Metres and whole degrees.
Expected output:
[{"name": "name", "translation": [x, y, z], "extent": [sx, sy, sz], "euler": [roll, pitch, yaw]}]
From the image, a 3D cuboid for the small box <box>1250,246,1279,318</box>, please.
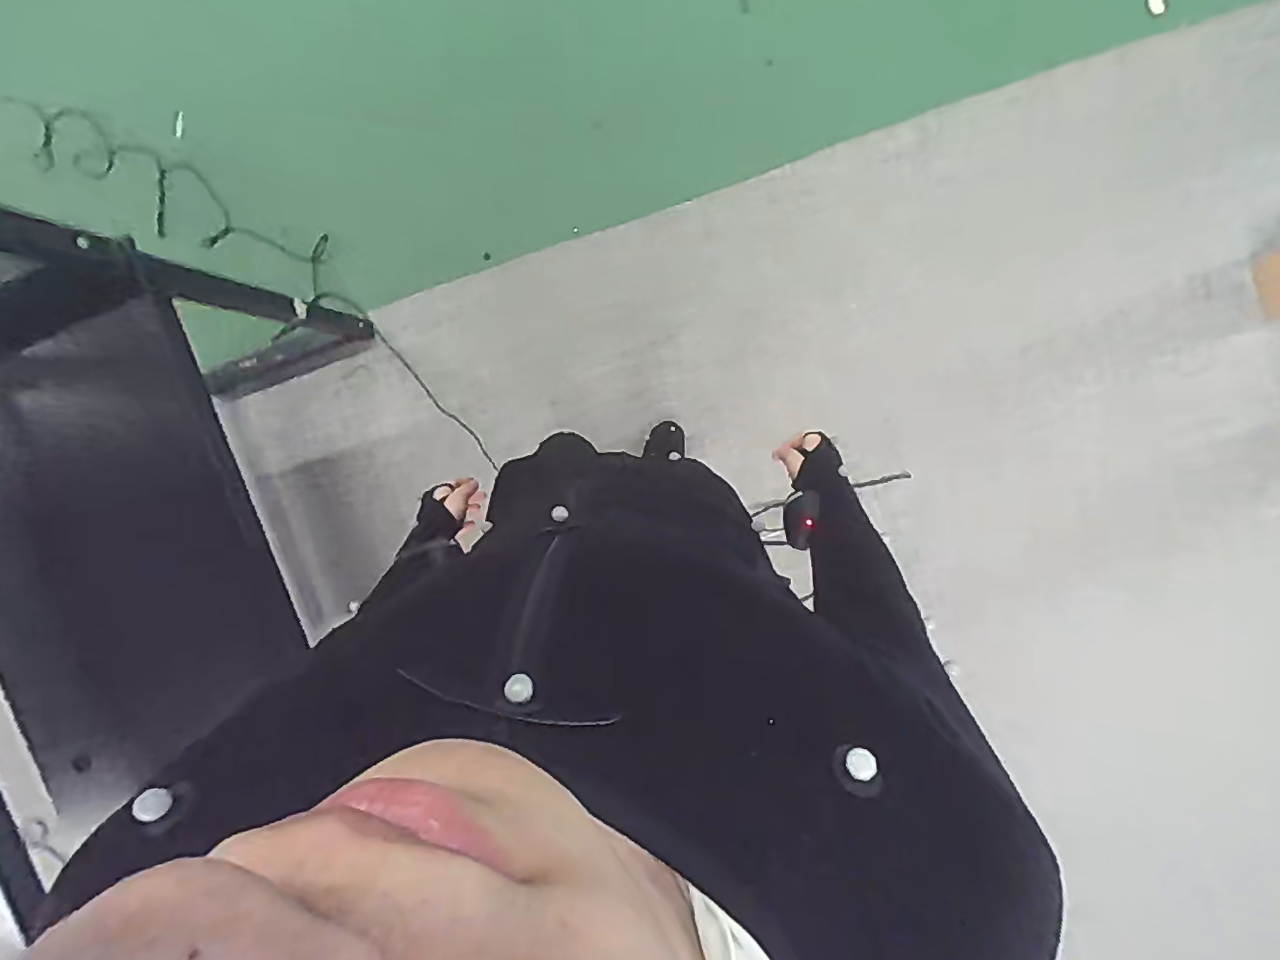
[{"name": "small box", "translation": [1.705, -0.528, 1.354], "extent": [0.168, 0.176, 0.179], "euler": [-18, 96, 6]}]
